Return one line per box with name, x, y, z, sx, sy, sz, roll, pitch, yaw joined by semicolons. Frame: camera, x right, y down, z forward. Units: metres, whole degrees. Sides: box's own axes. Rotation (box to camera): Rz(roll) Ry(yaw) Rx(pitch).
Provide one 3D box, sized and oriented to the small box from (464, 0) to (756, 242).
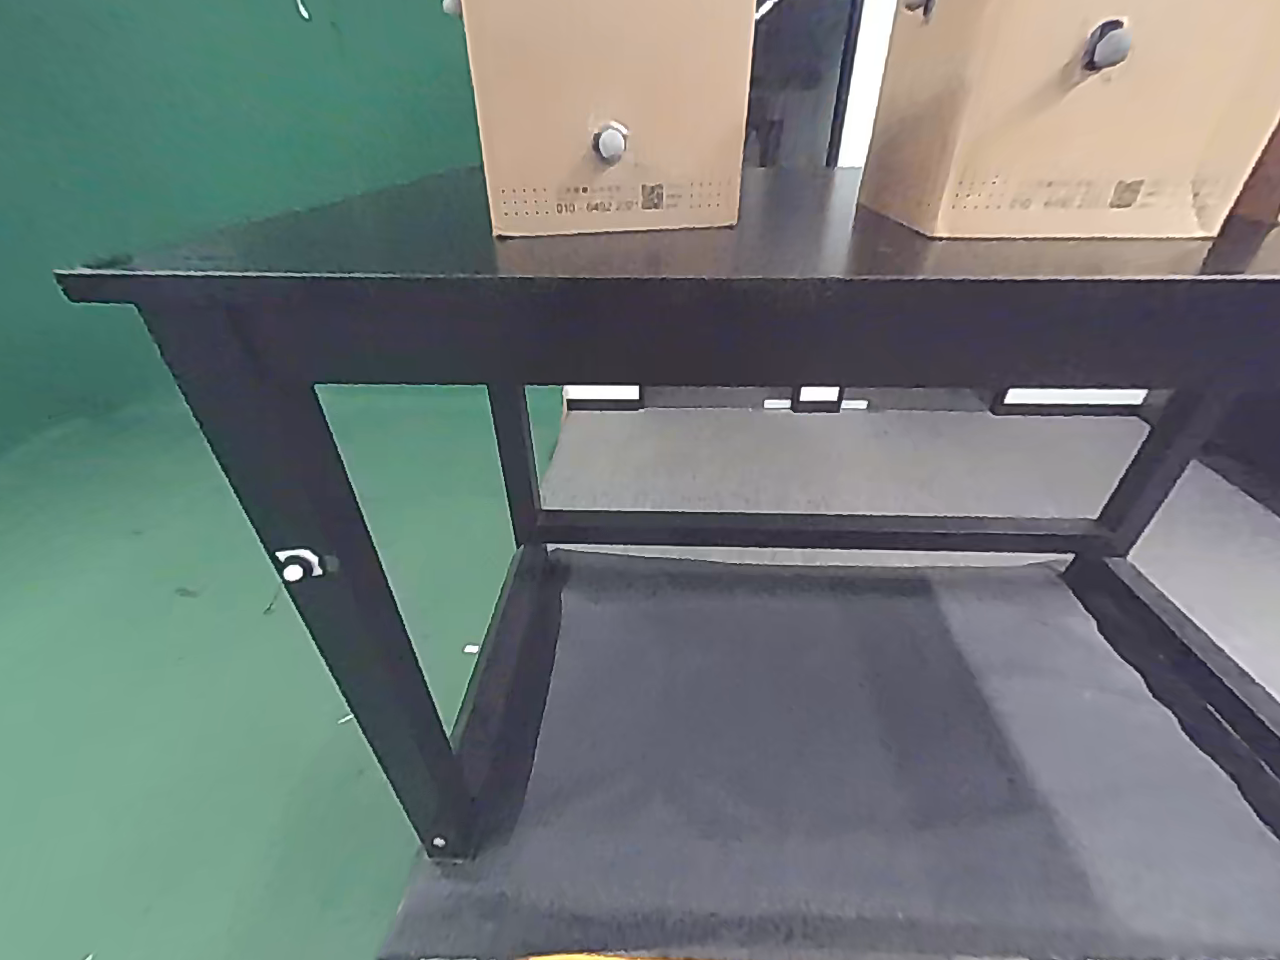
small box;-0.031;-0.276;0.385;0.168;0.176;0.179;-7;36;-10
